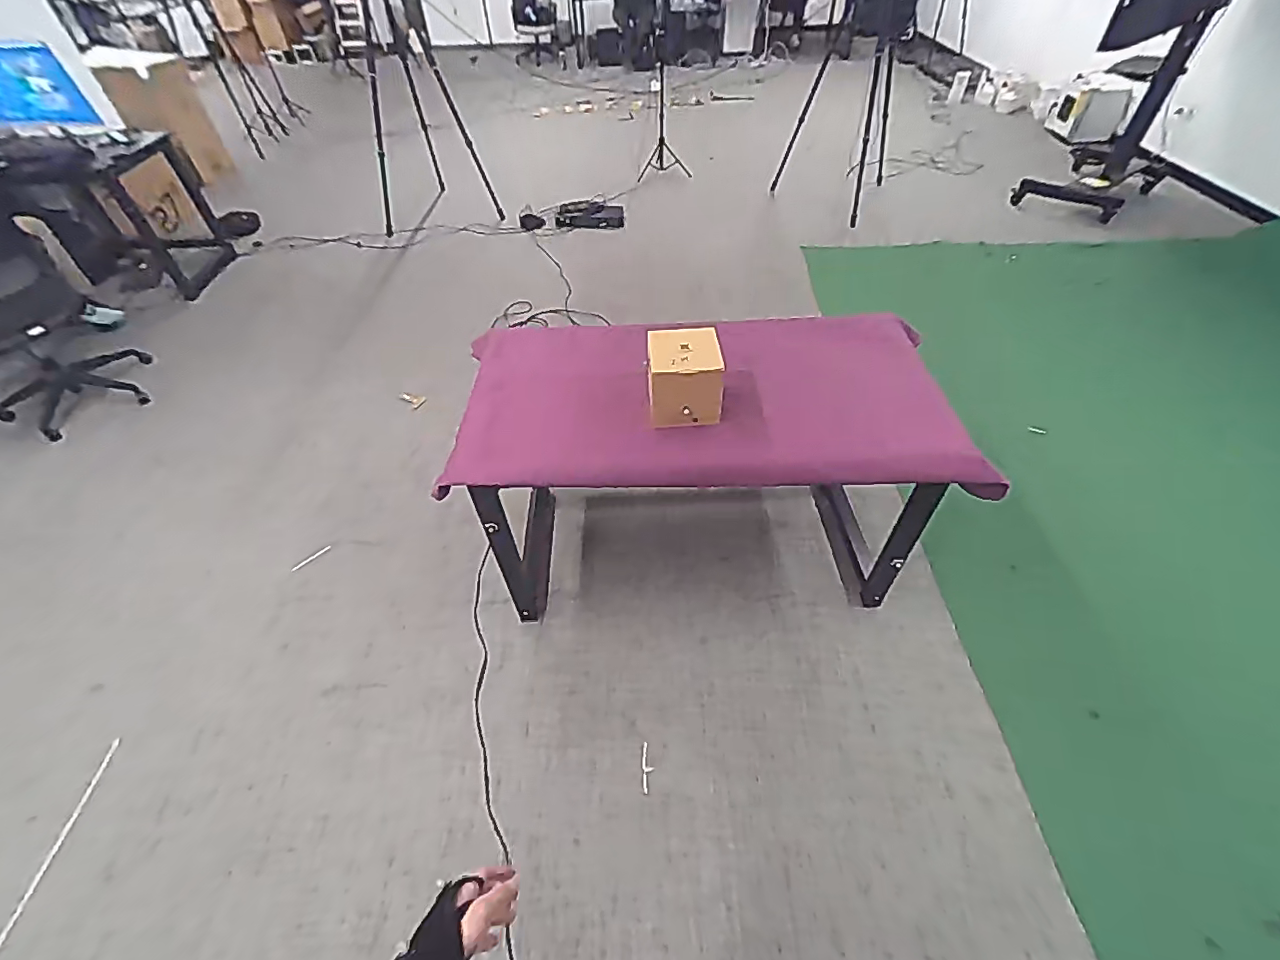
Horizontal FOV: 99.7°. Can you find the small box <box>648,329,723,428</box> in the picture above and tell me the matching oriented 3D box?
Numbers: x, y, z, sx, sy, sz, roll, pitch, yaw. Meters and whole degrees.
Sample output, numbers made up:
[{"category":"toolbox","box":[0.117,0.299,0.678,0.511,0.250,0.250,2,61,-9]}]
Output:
[{"category":"small box","box":[0.105,-0.248,1.320,0.168,0.176,0.179,-3,48,0]}]
